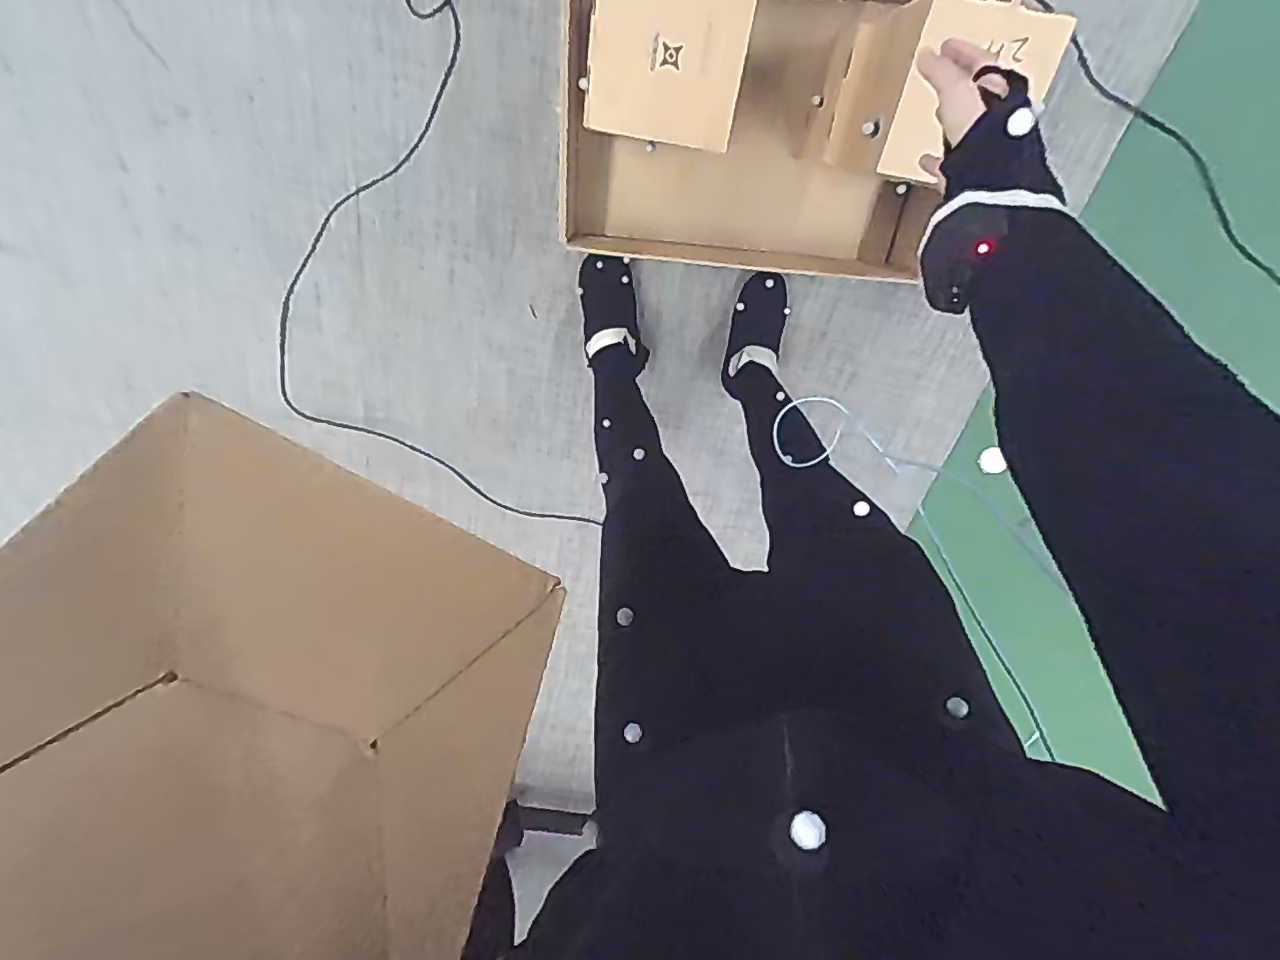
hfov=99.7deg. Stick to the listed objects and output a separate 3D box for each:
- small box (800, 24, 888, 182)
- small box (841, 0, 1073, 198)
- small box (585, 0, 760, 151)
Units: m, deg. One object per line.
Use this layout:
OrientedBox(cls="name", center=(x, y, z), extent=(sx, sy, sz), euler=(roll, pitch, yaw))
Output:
OrientedBox(cls="small box", center=(0.366, -0.566, 0.834), extent=(0.179, 0.176, 0.168), euler=(9, 120, -4))
OrientedBox(cls="small box", center=(0.380, -0.478, 0.694), extent=(0.168, 0.176, 0.179), euler=(8, 120, -6))
OrientedBox(cls="small box", center=(0.034, -0.519, 0.672), extent=(0.179, 0.176, 0.168), euler=(8, 122, -5))
